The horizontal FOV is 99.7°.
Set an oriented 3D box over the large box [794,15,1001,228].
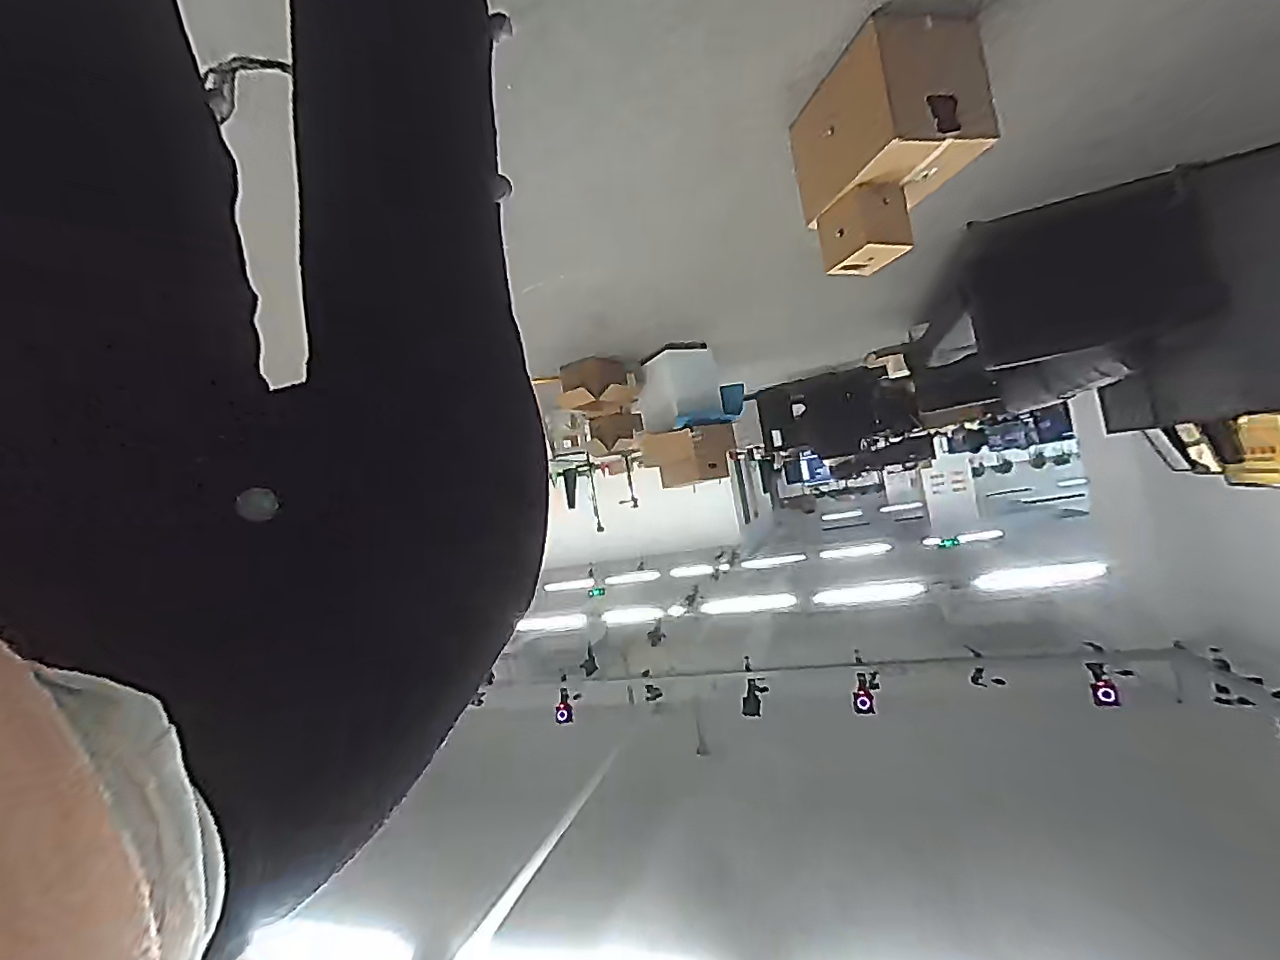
[{"bbox_3d":[0.672,-0.949,1.482,0.320,0.320,0.408,-11,177,-13],"label":"large box"}]
